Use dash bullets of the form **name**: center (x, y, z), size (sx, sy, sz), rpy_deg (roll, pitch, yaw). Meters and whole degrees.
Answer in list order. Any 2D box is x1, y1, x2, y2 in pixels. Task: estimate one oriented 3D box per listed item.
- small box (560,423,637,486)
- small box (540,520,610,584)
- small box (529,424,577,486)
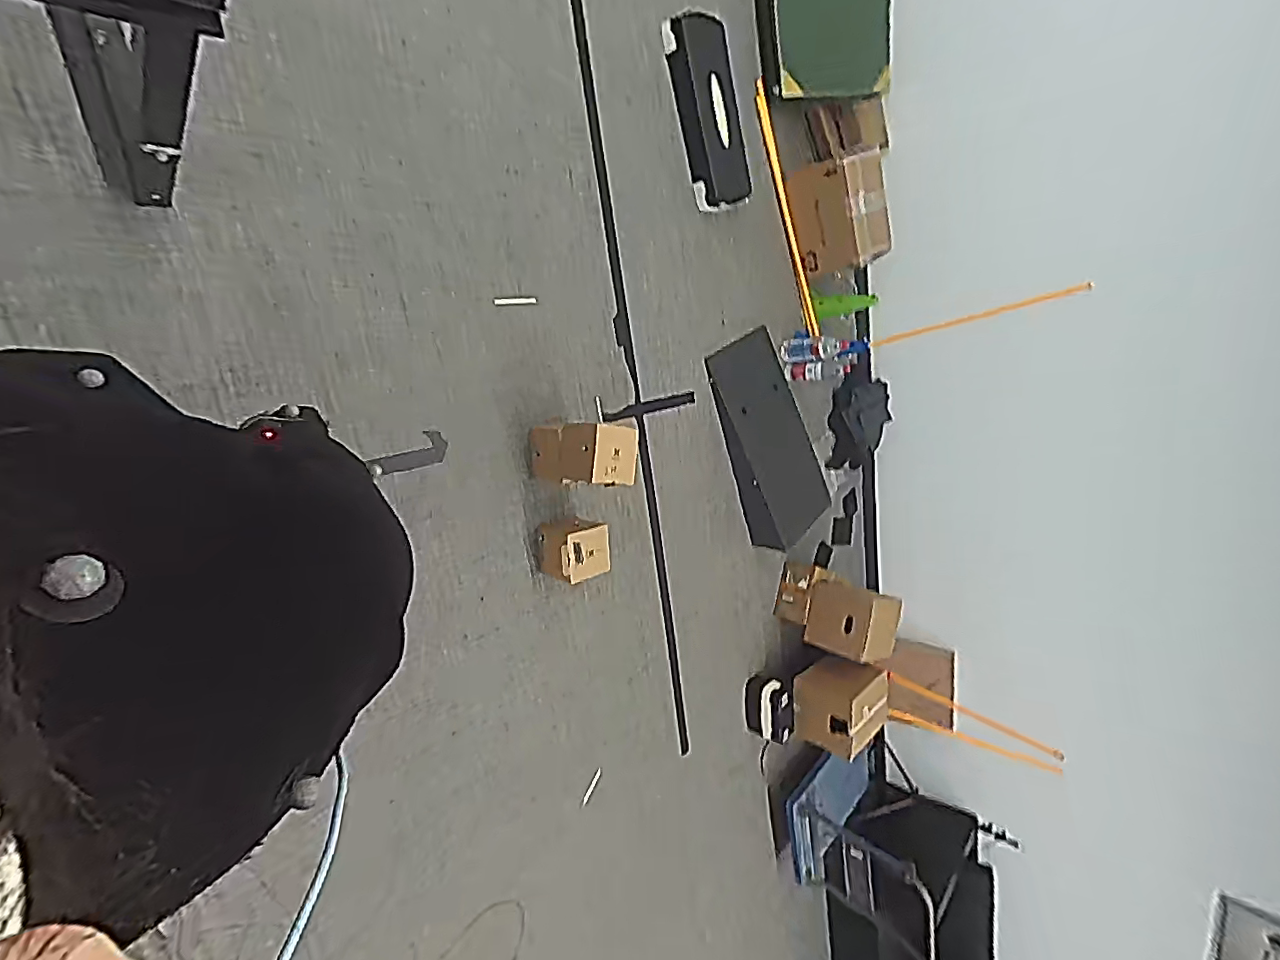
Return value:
- **small box**: center (-0.130, -0.076, 1.653), size (0.168, 0.176, 0.179), rpy_deg (4, 91, -44)
- **small box**: center (-0.224, 0.238, 1.830), size (0.179, 0.176, 0.168), rpy_deg (-13, 104, -44)
- **small box**: center (-0.247, -0.088, 1.769), size (0.168, 0.176, 0.179), rpy_deg (-13, 105, -43)
